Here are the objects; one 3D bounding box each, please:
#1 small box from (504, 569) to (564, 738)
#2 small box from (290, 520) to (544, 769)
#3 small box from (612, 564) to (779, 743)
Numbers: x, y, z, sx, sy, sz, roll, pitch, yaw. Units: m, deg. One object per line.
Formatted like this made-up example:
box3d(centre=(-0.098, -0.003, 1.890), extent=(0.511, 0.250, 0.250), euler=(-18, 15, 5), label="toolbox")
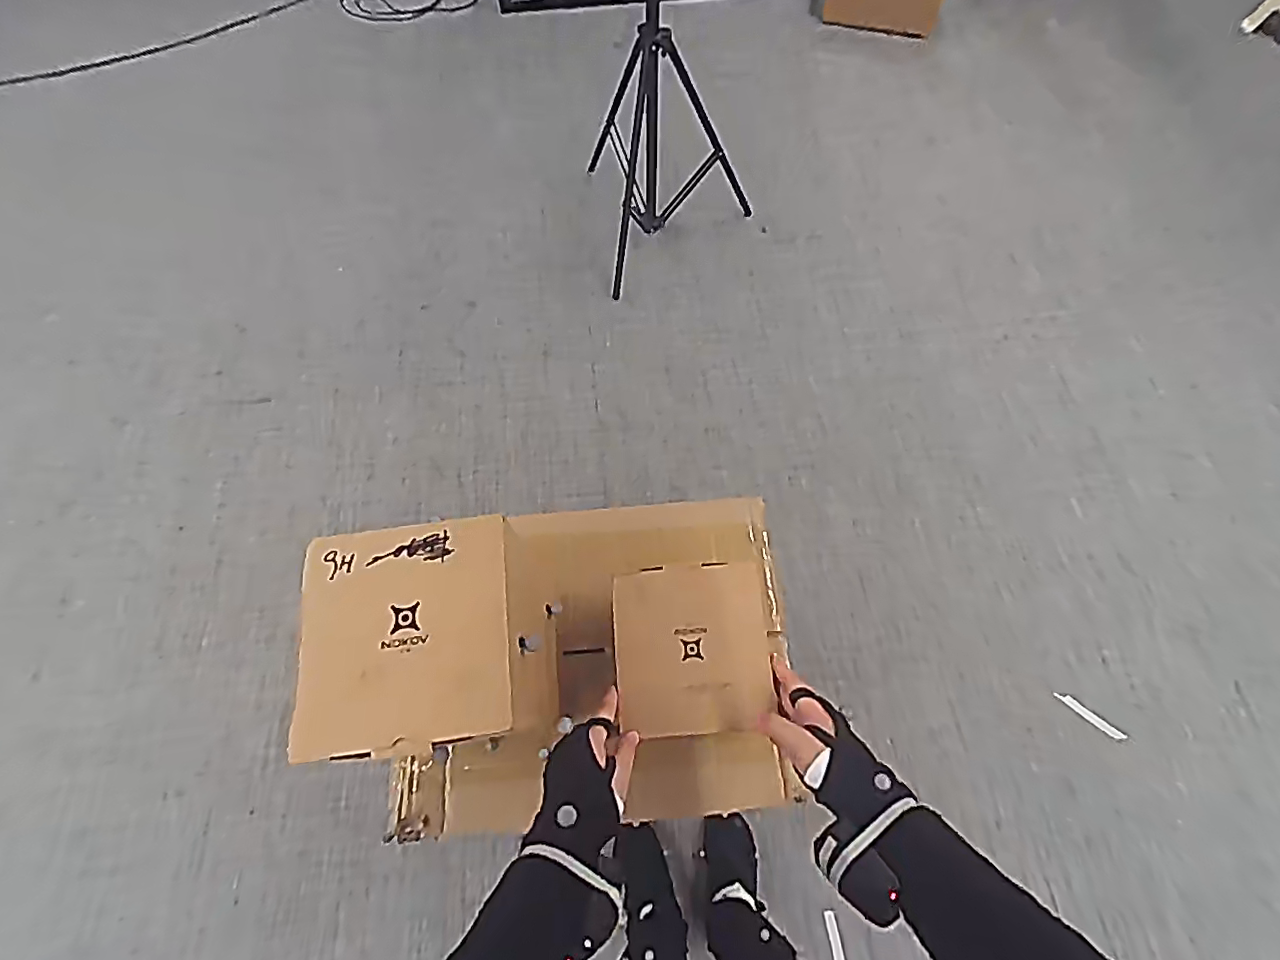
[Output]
box3d(centre=(-0.186, 0.219, 0.656), extent=(0.168, 0.176, 0.179), euler=(-6, 67, -3), label="small box")
box3d(centre=(-0.188, 0.153, 0.505), extent=(0.168, 0.176, 0.179), euler=(-7, 68, -3), label="small box")
box3d(centre=(0.058, 0.212, 0.658), extent=(0.168, 0.176, 0.179), euler=(-6, 69, 1), label="small box")
